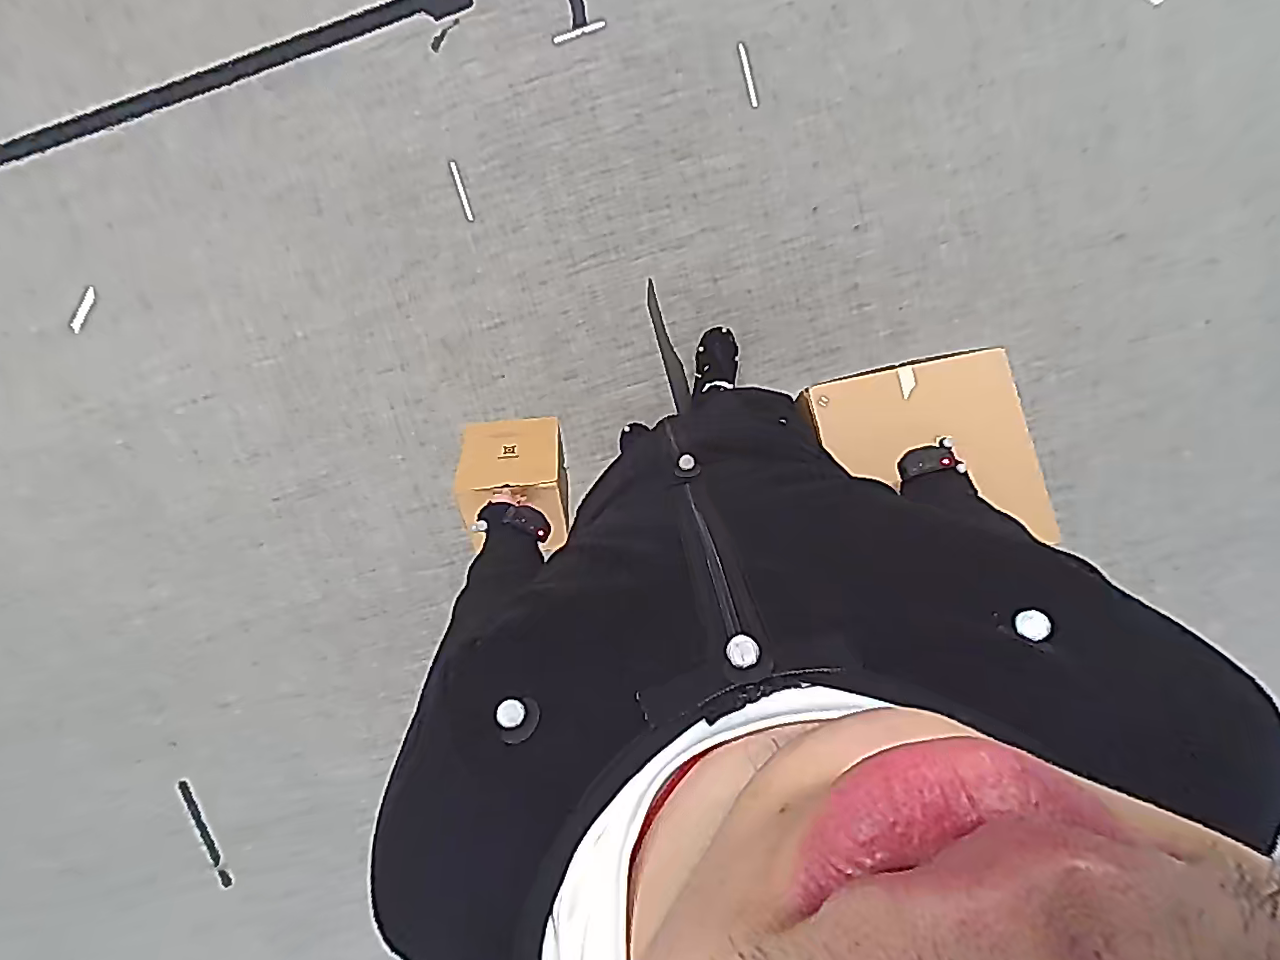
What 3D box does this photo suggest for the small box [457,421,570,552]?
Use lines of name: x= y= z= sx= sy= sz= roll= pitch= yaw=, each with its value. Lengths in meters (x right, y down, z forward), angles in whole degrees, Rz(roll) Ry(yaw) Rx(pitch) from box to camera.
small box: x=-0.217 y=0.016 z=0.975 sx=0.168 sy=0.179 sz=0.176 roll=-4 pitch=133 yaw=-4
